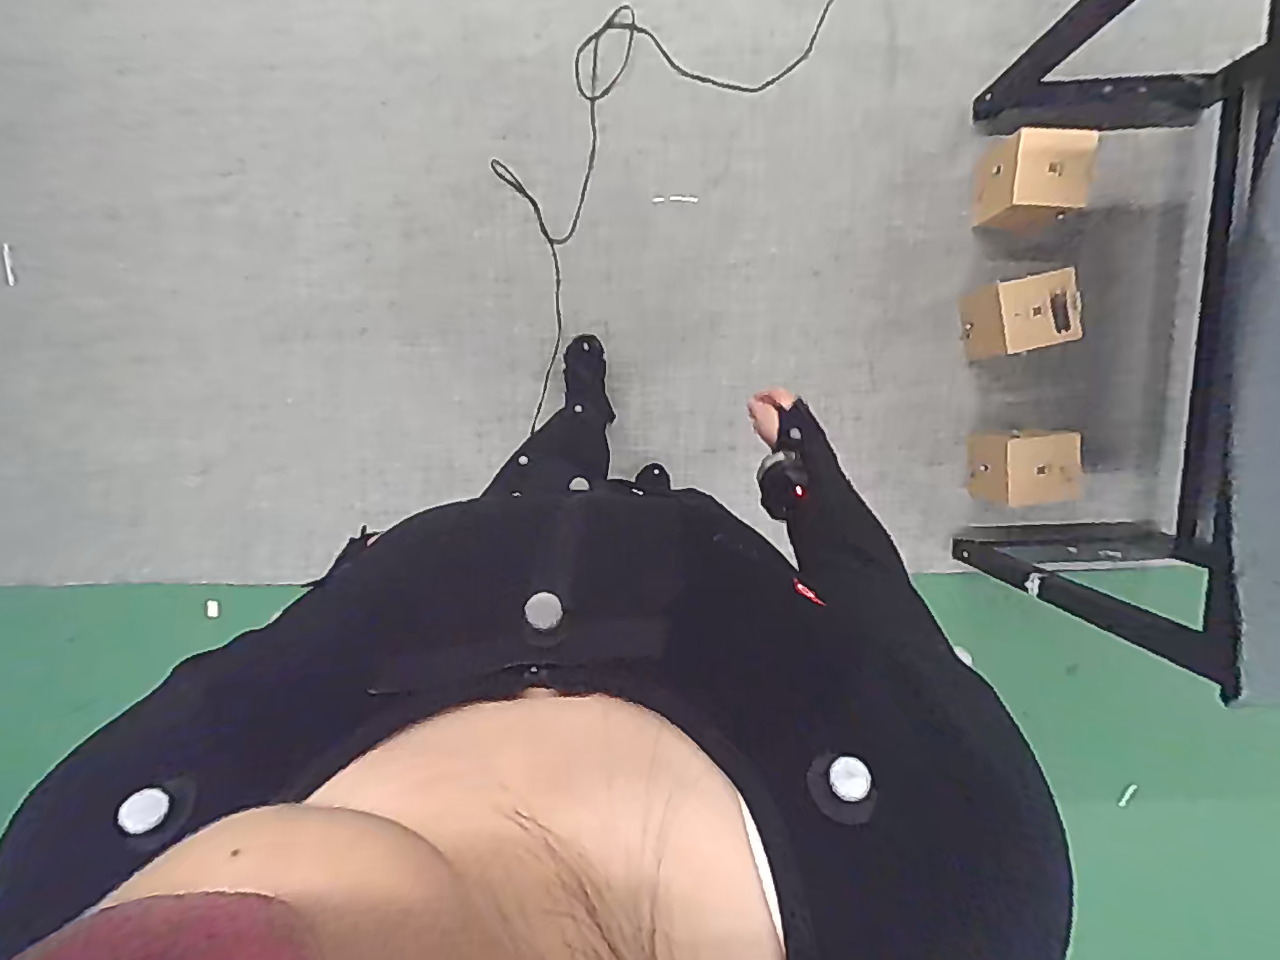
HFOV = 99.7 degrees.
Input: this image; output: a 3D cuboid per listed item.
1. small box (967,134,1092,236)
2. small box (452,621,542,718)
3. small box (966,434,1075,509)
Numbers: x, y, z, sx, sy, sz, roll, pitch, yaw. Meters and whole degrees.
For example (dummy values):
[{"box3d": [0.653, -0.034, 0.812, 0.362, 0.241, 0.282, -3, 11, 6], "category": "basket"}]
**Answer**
[{"box3d": [0.922, -0.699, 1.297, 0.179, 0.176, 0.168, 3, 97, 0], "category": "small box"}, {"box3d": [-0.372, 0.501, 1.452, 0.179, 0.176, 0.168, -17, 97, 3], "category": "small box"}, {"box3d": [0.959, -0.025, 1.378, 0.179, 0.176, 0.168, -6, 98, 1], "category": "small box"}]
